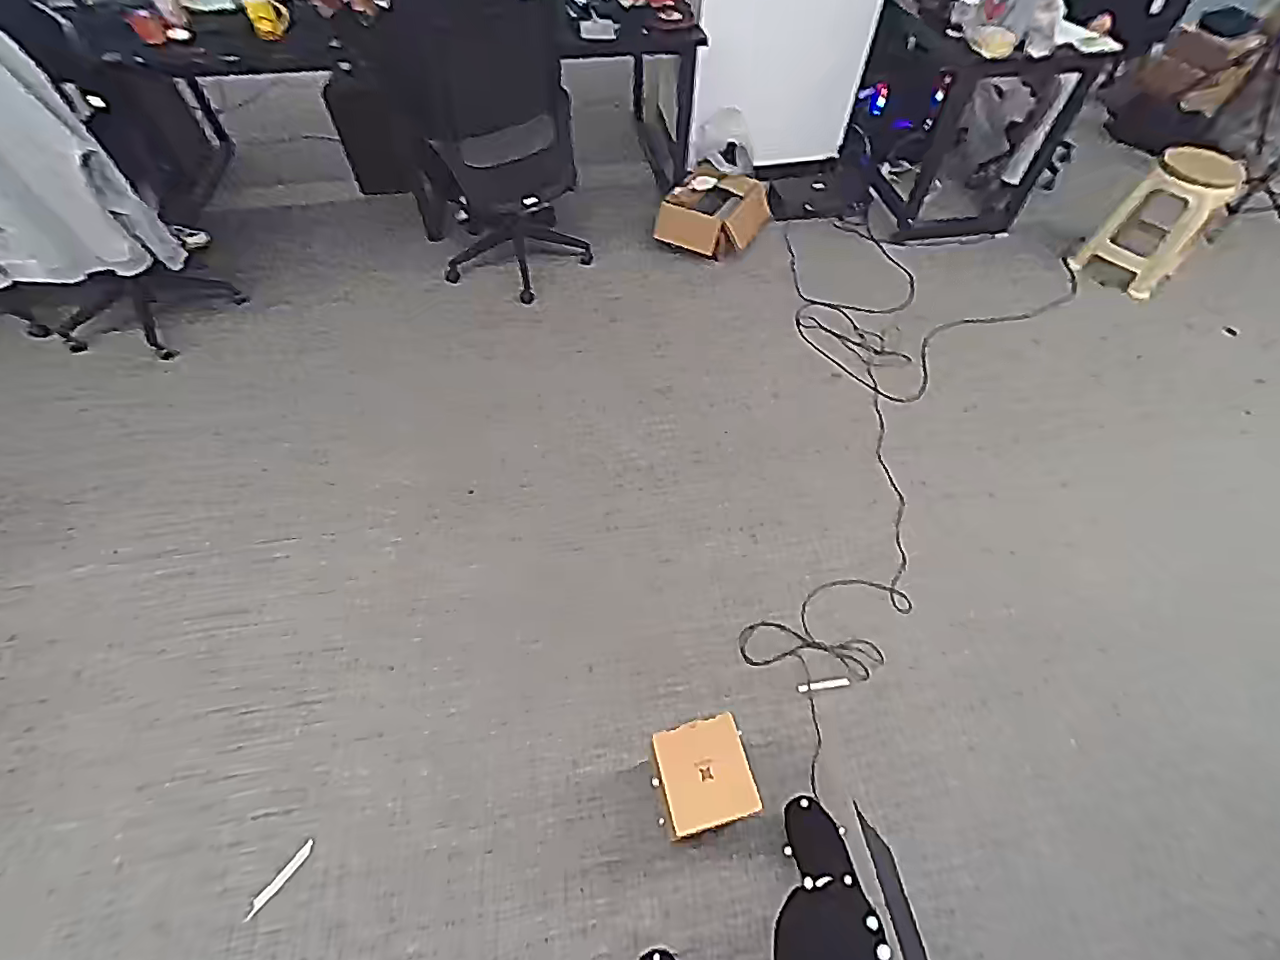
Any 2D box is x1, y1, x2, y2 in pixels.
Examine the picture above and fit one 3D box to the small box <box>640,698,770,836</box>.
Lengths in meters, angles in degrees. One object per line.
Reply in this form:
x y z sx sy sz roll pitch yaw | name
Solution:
0.124 0.554 1.053 0.179 0.176 0.168 -27 39 3 | small box
